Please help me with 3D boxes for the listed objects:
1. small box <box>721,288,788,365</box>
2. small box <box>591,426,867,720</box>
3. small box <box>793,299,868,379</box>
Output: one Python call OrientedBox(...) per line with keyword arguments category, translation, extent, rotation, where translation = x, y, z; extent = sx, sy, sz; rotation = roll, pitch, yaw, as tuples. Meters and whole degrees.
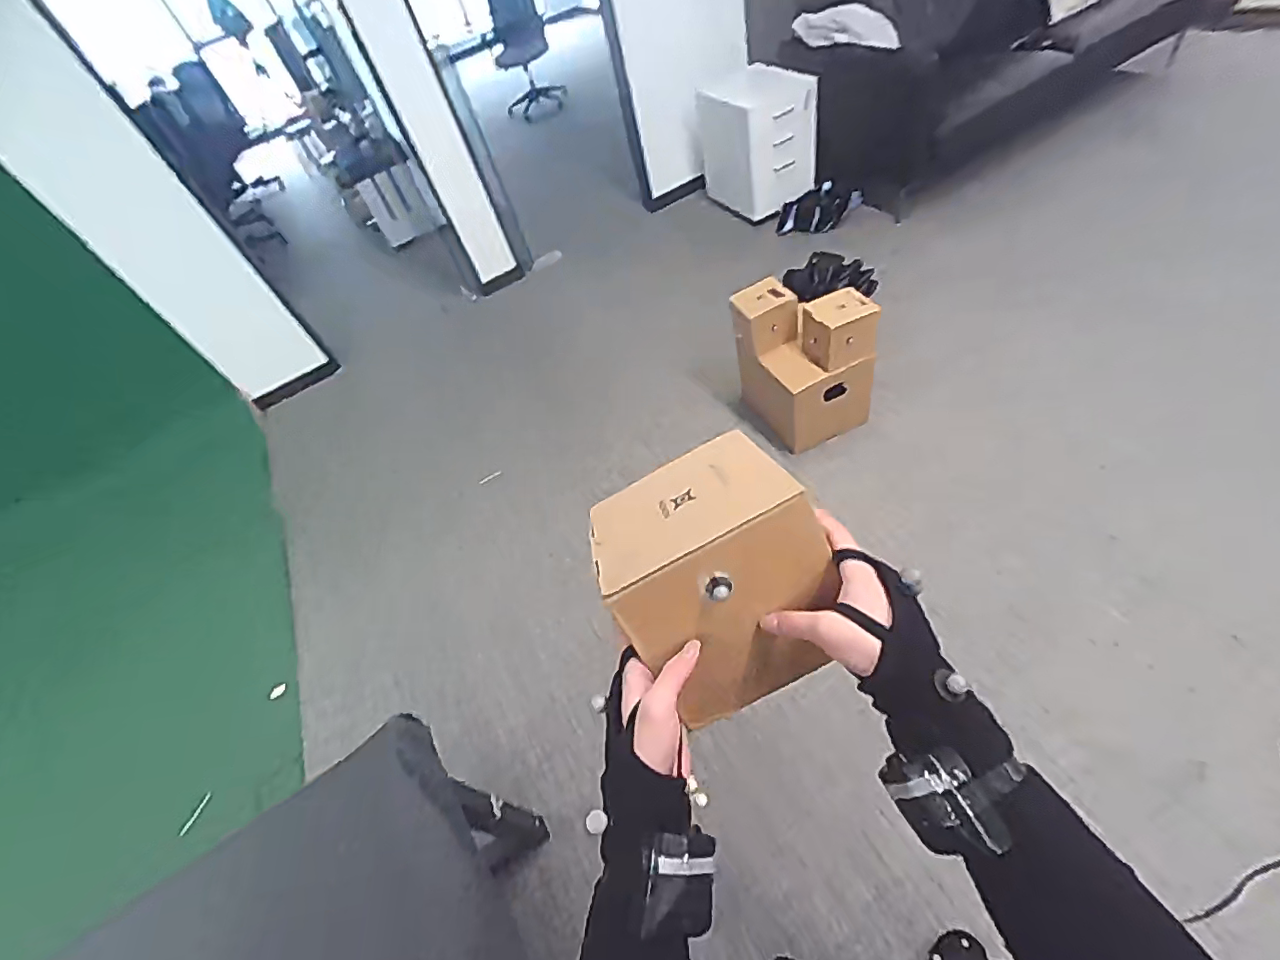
OrientedBox(category="small box", translation=(0.407, -0.539, 1.909), extent=(0.179, 0.176, 0.168), rotation=(-26, 48, -3))
OrientedBox(category="small box", translation=(0.073, 0.079, 0.495), extent=(0.179, 0.176, 0.168), rotation=(-27, 22, 1))
OrientedBox(category="small box", translation=(0.623, -0.461, 1.781), extent=(0.179, 0.176, 0.168), rotation=(-23, 47, -7))
